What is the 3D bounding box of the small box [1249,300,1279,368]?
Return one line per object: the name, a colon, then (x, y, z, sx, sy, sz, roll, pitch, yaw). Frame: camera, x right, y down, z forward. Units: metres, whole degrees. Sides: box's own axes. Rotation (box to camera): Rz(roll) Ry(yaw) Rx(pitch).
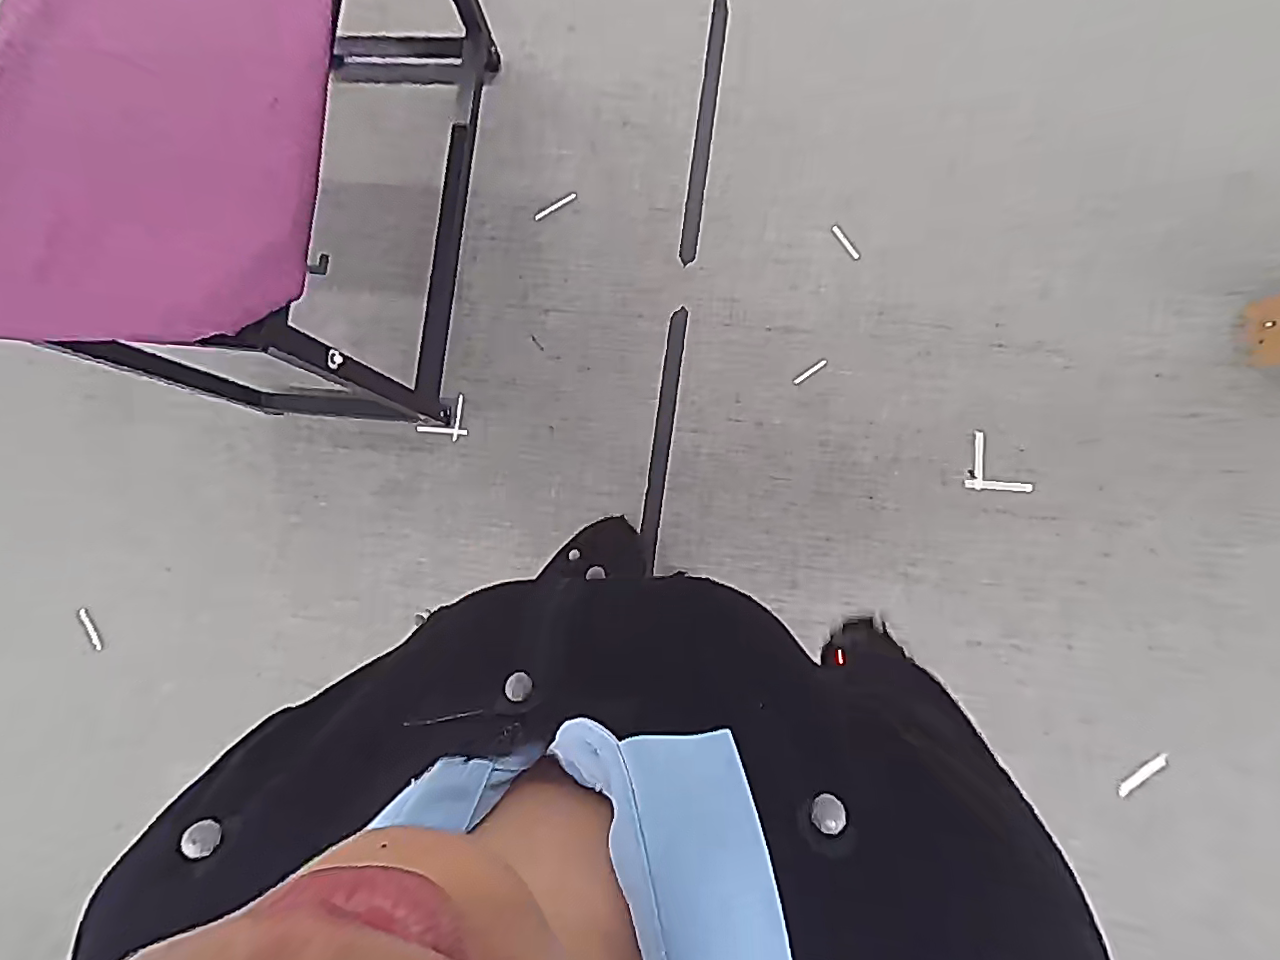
small box: (1.716, -0.385, 1.361, 0.179, 0.176, 0.168, 1, 84, 4)
